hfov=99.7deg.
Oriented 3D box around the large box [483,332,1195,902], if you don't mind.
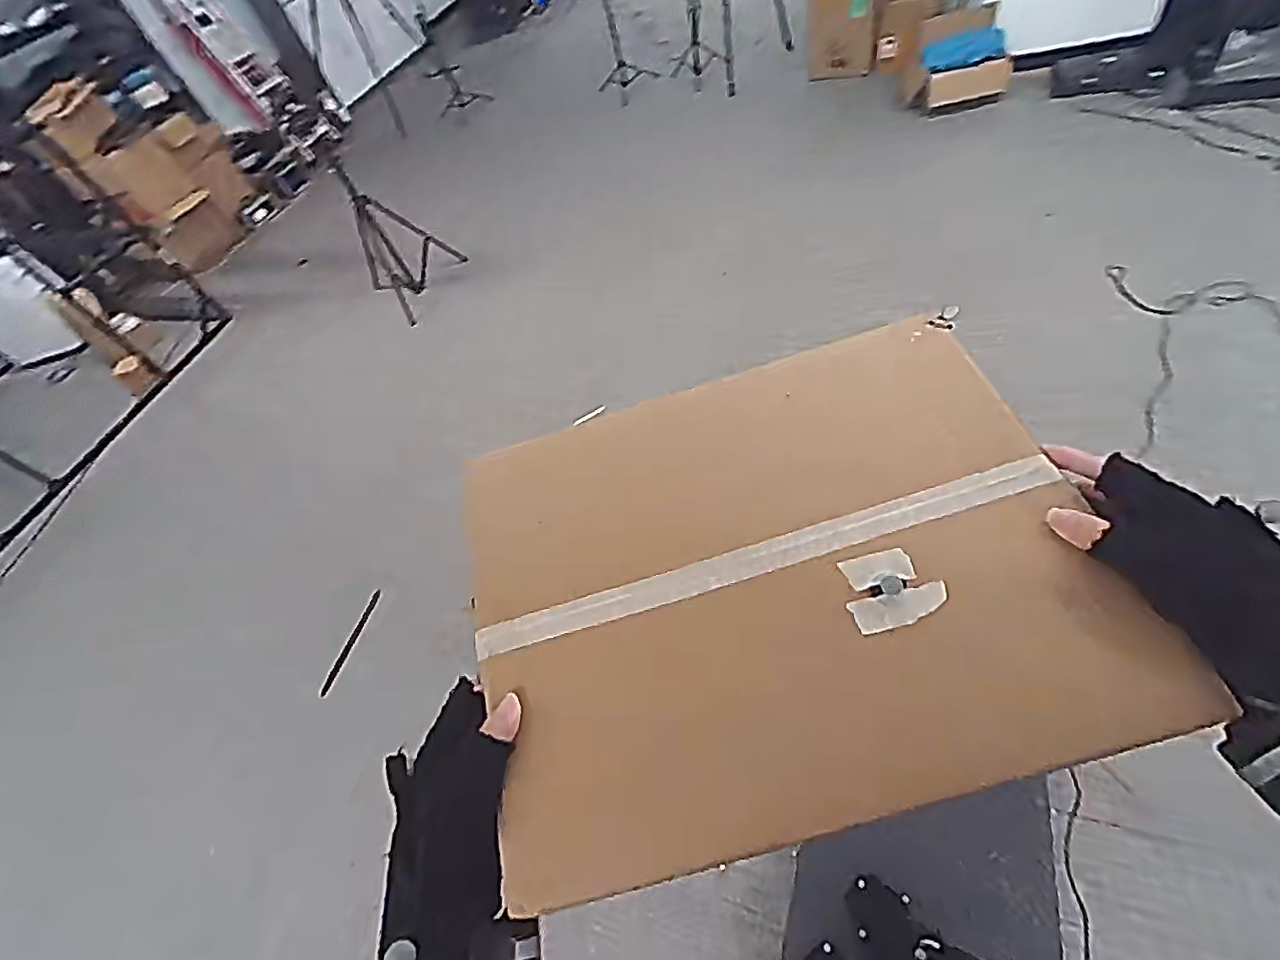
[{"bbox_3d":[0.114,0.132,0.510,0.408,0.320,0.320,-17,60,2],"label":"large box"}]
